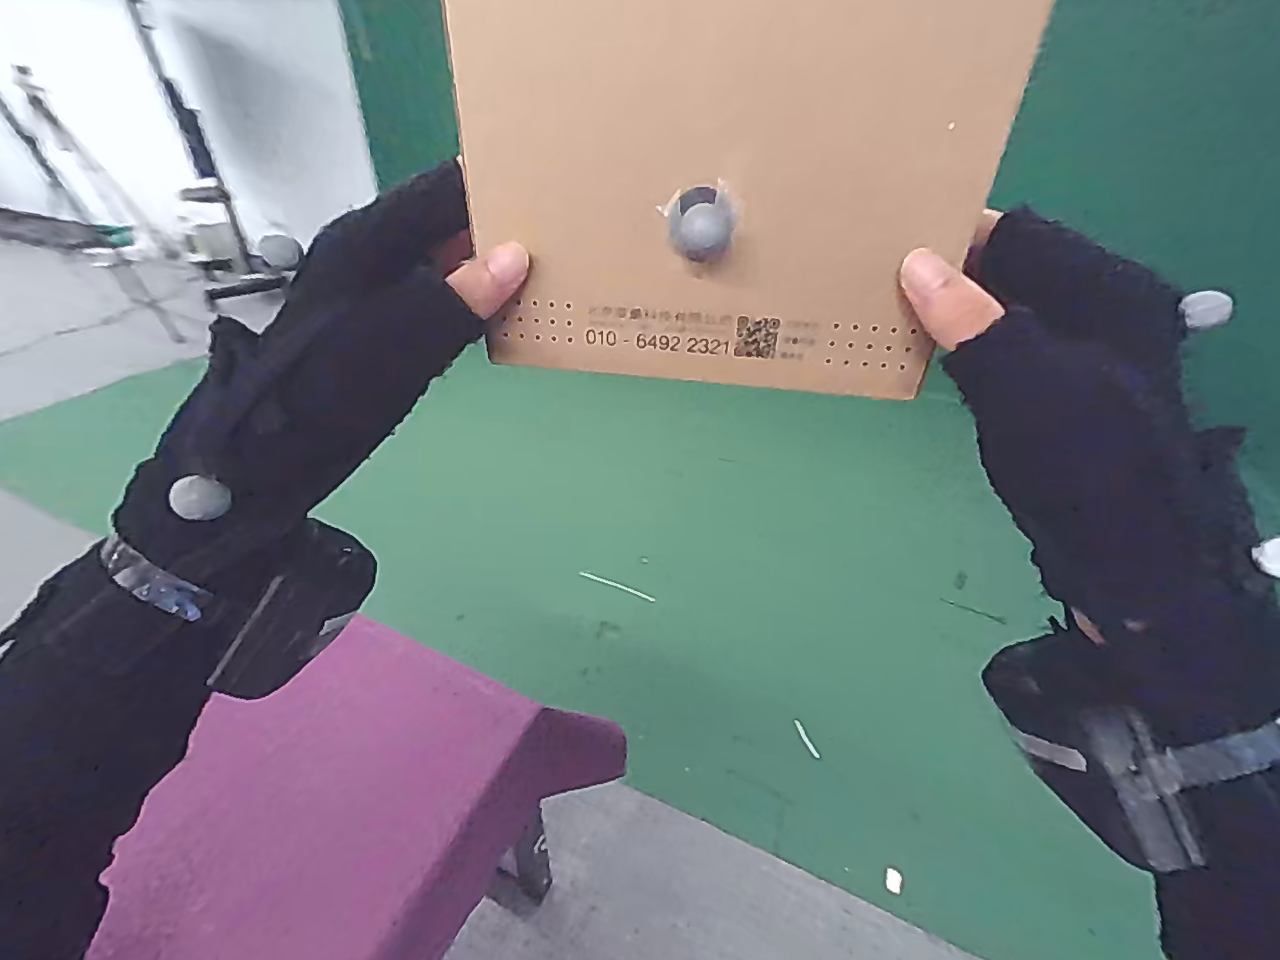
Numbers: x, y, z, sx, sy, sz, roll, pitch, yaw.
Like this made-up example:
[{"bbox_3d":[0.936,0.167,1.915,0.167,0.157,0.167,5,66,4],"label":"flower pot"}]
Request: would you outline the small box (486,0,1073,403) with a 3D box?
[{"bbox_3d":[0.042,-0.150,0.231,0.168,0.176,0.179,6,34,7],"label":"small box"}]
